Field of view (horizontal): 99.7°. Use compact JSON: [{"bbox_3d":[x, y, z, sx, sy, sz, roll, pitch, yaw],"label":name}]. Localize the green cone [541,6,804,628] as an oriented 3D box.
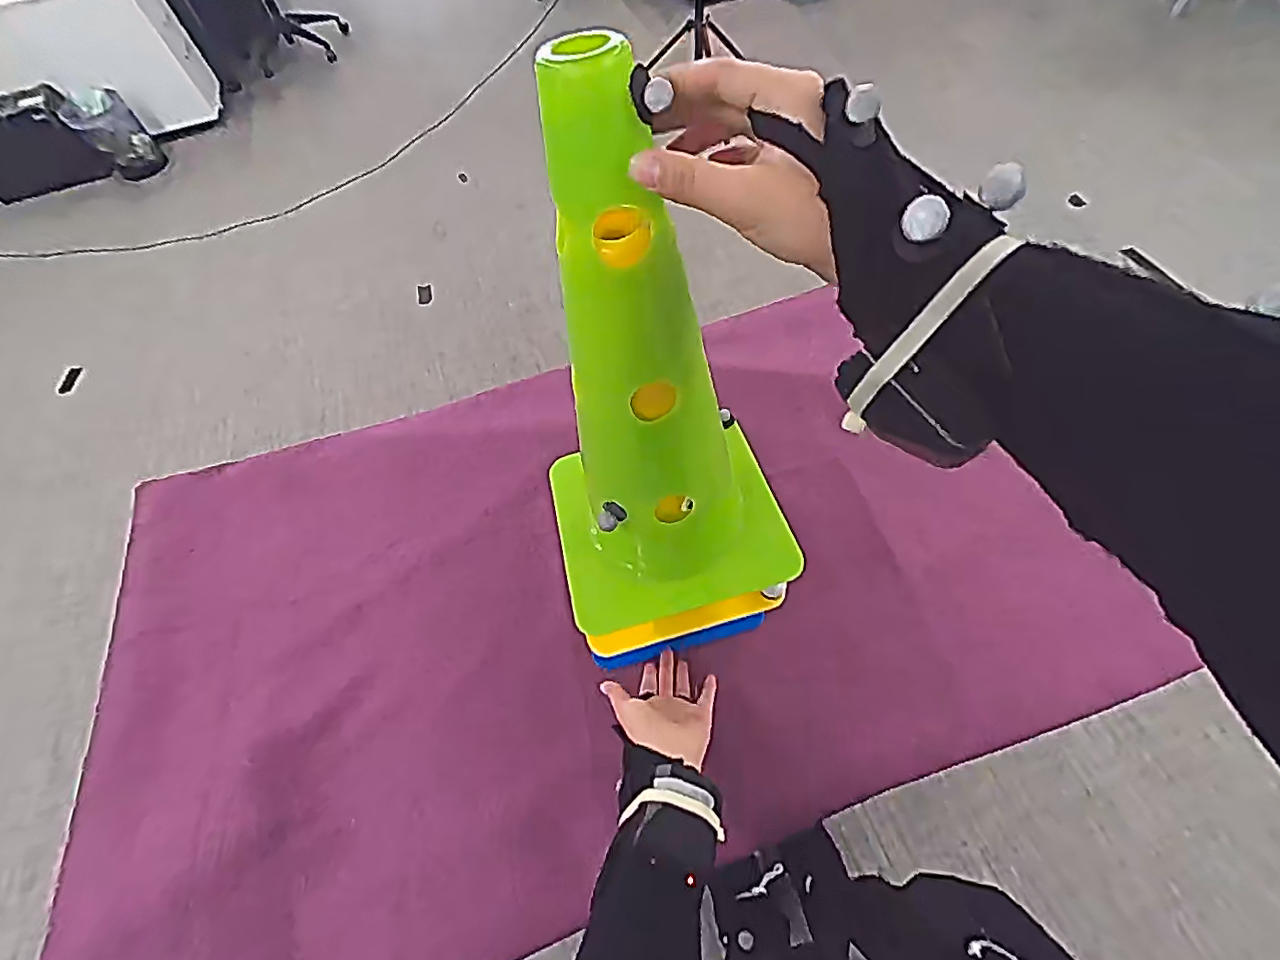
[{"bbox_3d":[-0.001,-0.078,0.360,0.200,0.368,0.202,-17,53,-2],"label":"green cone"}]
